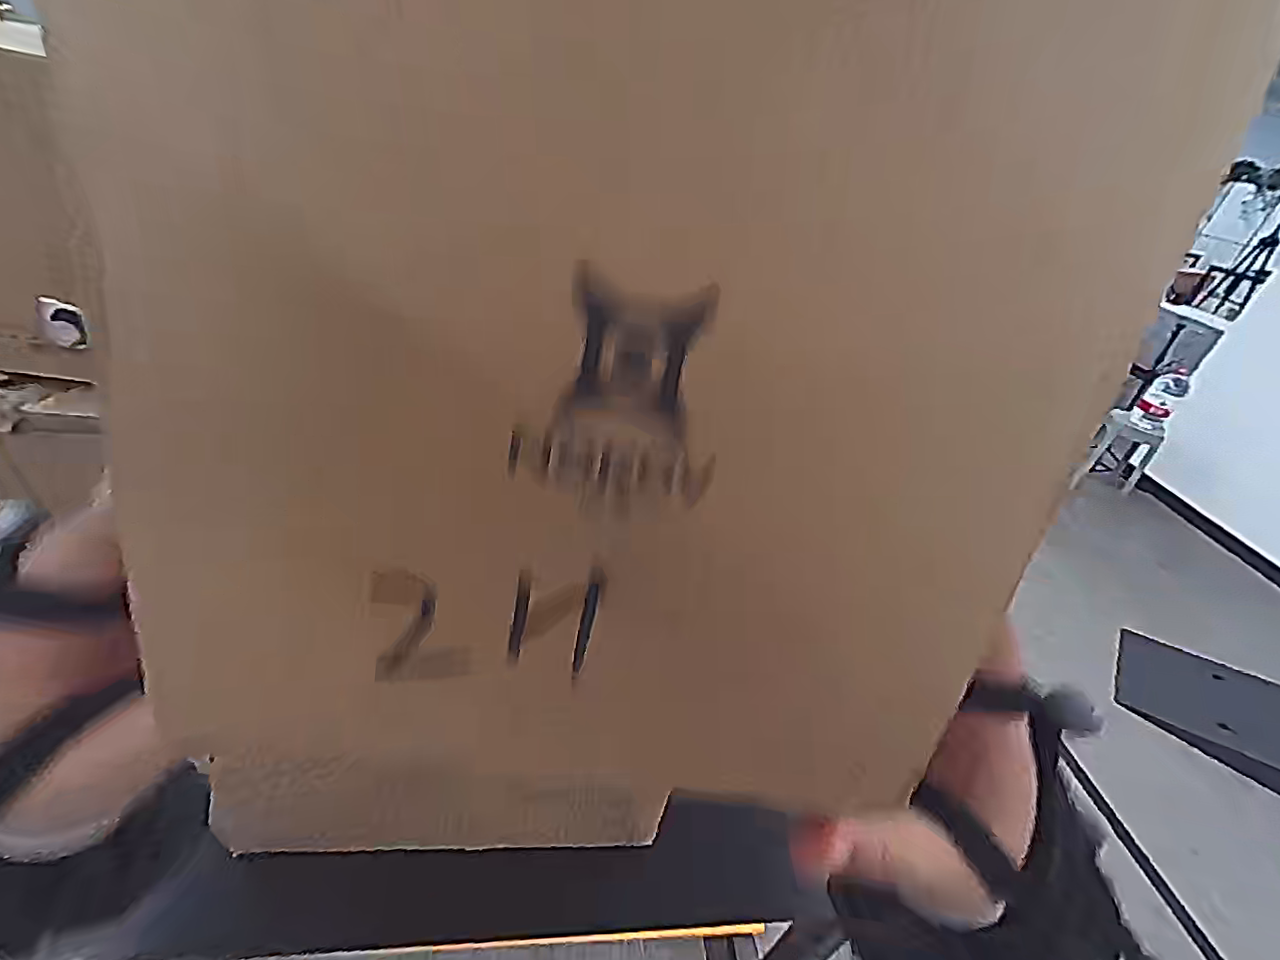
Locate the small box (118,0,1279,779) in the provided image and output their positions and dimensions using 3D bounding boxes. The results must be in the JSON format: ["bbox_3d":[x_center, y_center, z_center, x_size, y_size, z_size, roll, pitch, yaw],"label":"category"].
[{"bbox_3d":[-0.002,-0.050,0.169,0.168,0.179,0.176,11,19,-5],"label":"small box"}]

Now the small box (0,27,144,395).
[{"bbox_3d":[-0.298,-0.166,0.348,0.168,0.176,0.179,5,37,-10],"label":"small box"}]
